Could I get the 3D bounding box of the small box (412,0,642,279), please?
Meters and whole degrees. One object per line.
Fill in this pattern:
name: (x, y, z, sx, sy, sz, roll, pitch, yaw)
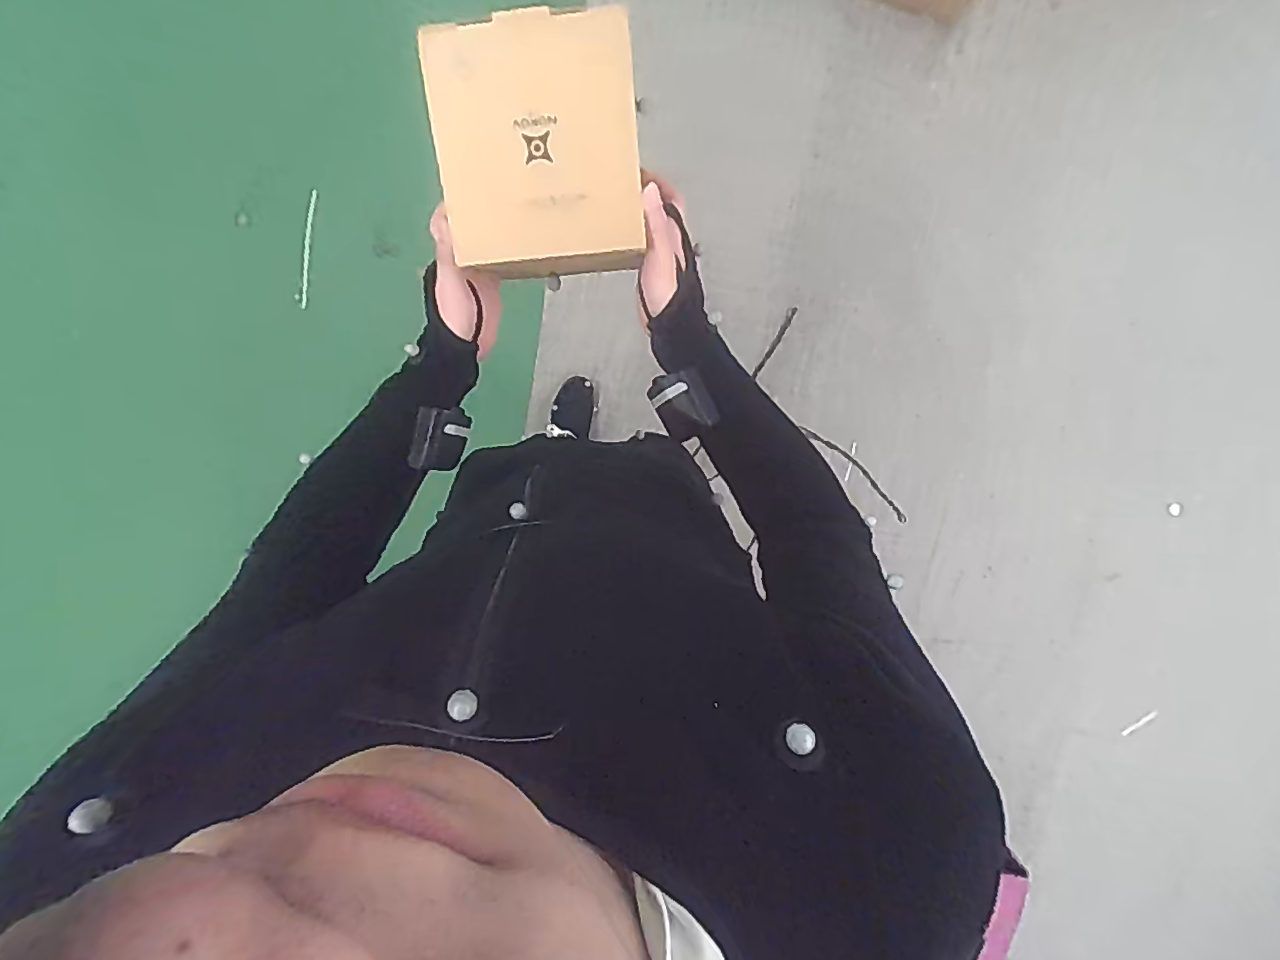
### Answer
small box: (-0.086, -0.291, 0.501, 0.168, 0.176, 0.179, -4, 106, 1)
